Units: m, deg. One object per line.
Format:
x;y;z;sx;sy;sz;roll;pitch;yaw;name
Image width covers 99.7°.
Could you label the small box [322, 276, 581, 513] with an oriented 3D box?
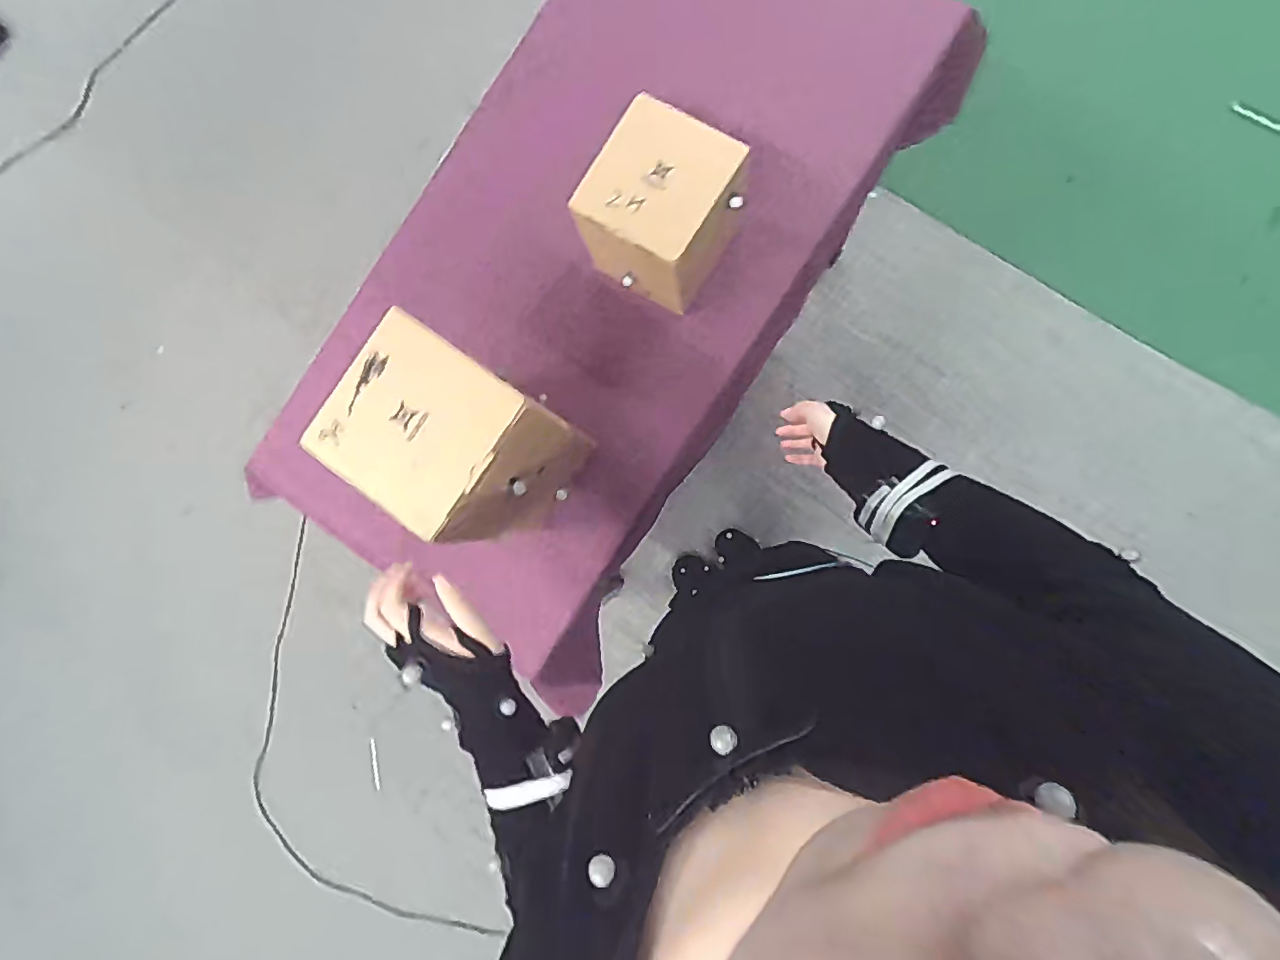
-0.189;-0.081;0.598;0.179;0.176;0.168;39;91;7;small box
